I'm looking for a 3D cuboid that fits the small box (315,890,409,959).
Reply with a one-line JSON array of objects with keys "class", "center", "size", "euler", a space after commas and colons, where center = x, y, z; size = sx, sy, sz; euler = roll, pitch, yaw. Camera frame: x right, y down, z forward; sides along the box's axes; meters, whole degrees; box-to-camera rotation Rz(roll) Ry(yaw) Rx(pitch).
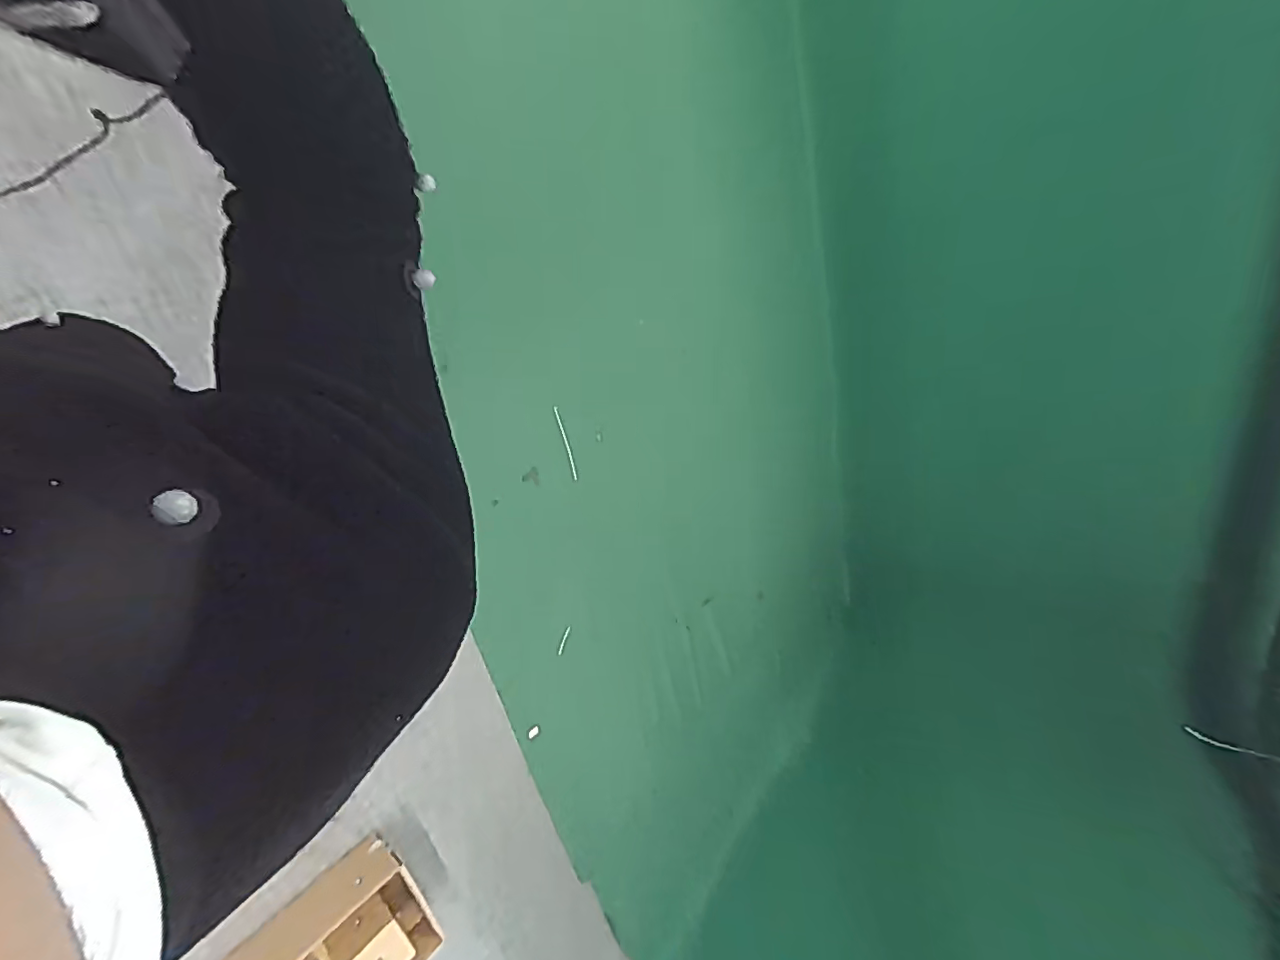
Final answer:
[{"class": "small box", "center": [-0.828, 1.372, 1.604], "size": [0.168, 0.176, 0.179], "euler": [-33, 120, -40]}]
